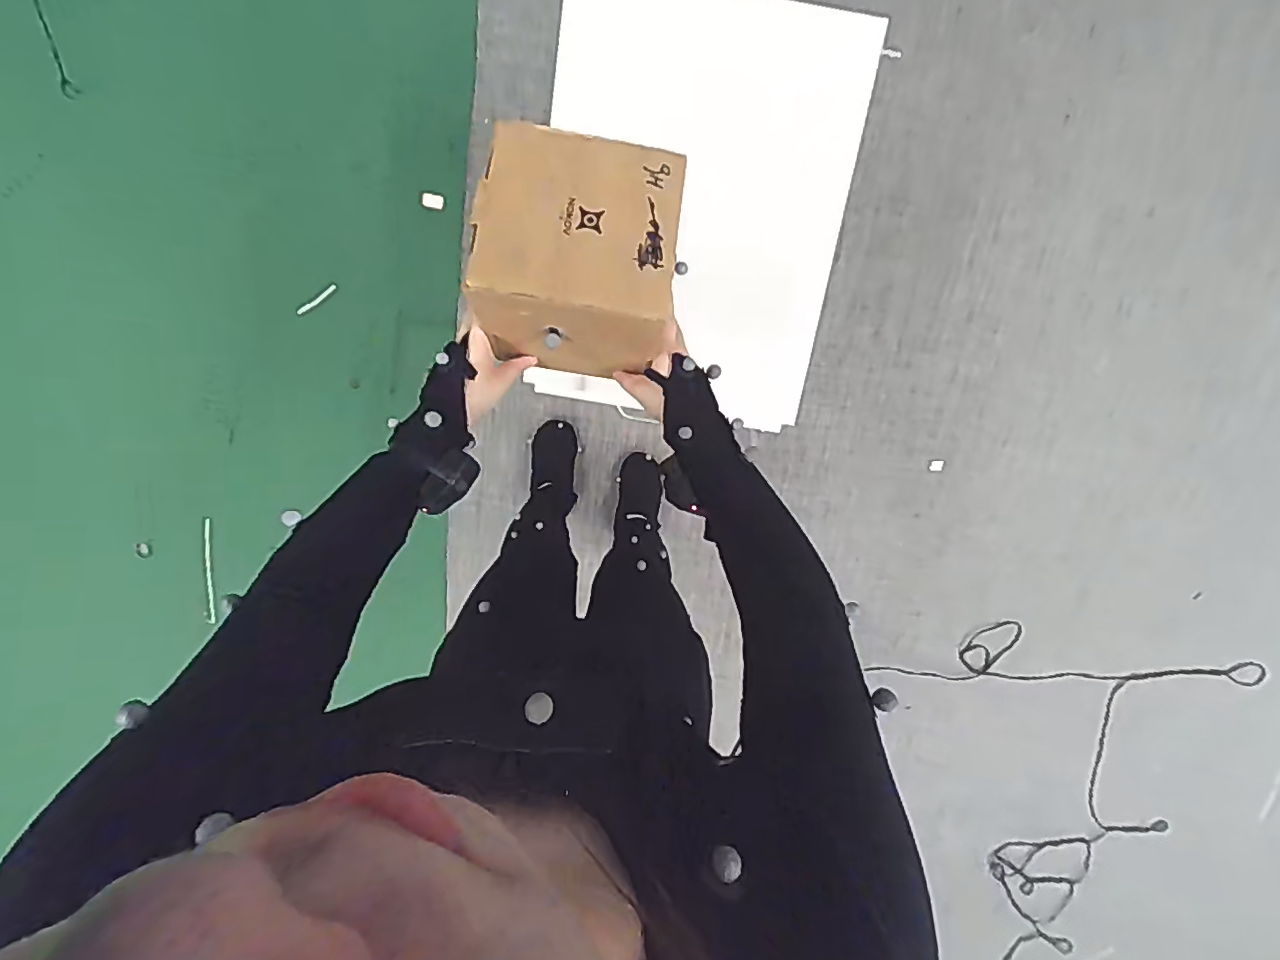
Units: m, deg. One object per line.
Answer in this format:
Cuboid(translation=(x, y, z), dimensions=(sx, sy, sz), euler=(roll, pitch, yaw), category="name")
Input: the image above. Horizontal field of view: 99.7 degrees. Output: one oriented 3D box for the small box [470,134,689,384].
Cuboid(translation=(-0.057, -0.212, 0.562), dimensions=(0.179, 0.176, 0.168), euler=(8, 80, -3), category="small box")
